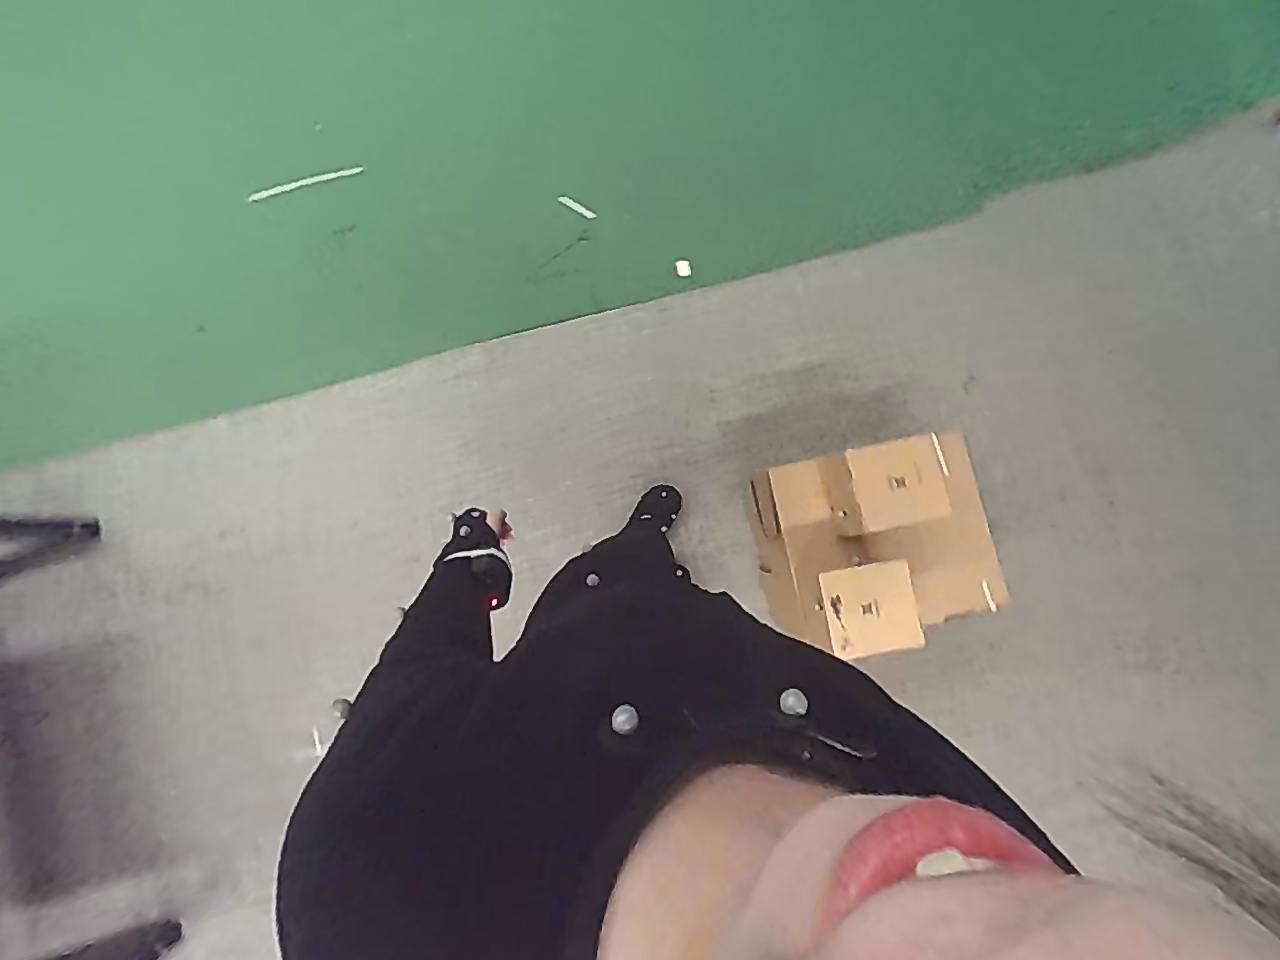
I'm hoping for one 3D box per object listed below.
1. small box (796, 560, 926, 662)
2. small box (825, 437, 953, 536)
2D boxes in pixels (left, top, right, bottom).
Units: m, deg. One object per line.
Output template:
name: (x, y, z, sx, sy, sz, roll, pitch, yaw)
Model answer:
small box: (0.434, 0.254, 1.086, 0.179, 0.176, 0.168, -9, 83, -1)
small box: (0.500, 0.020, 1.119, 0.179, 0.176, 0.168, -11, 83, -2)
